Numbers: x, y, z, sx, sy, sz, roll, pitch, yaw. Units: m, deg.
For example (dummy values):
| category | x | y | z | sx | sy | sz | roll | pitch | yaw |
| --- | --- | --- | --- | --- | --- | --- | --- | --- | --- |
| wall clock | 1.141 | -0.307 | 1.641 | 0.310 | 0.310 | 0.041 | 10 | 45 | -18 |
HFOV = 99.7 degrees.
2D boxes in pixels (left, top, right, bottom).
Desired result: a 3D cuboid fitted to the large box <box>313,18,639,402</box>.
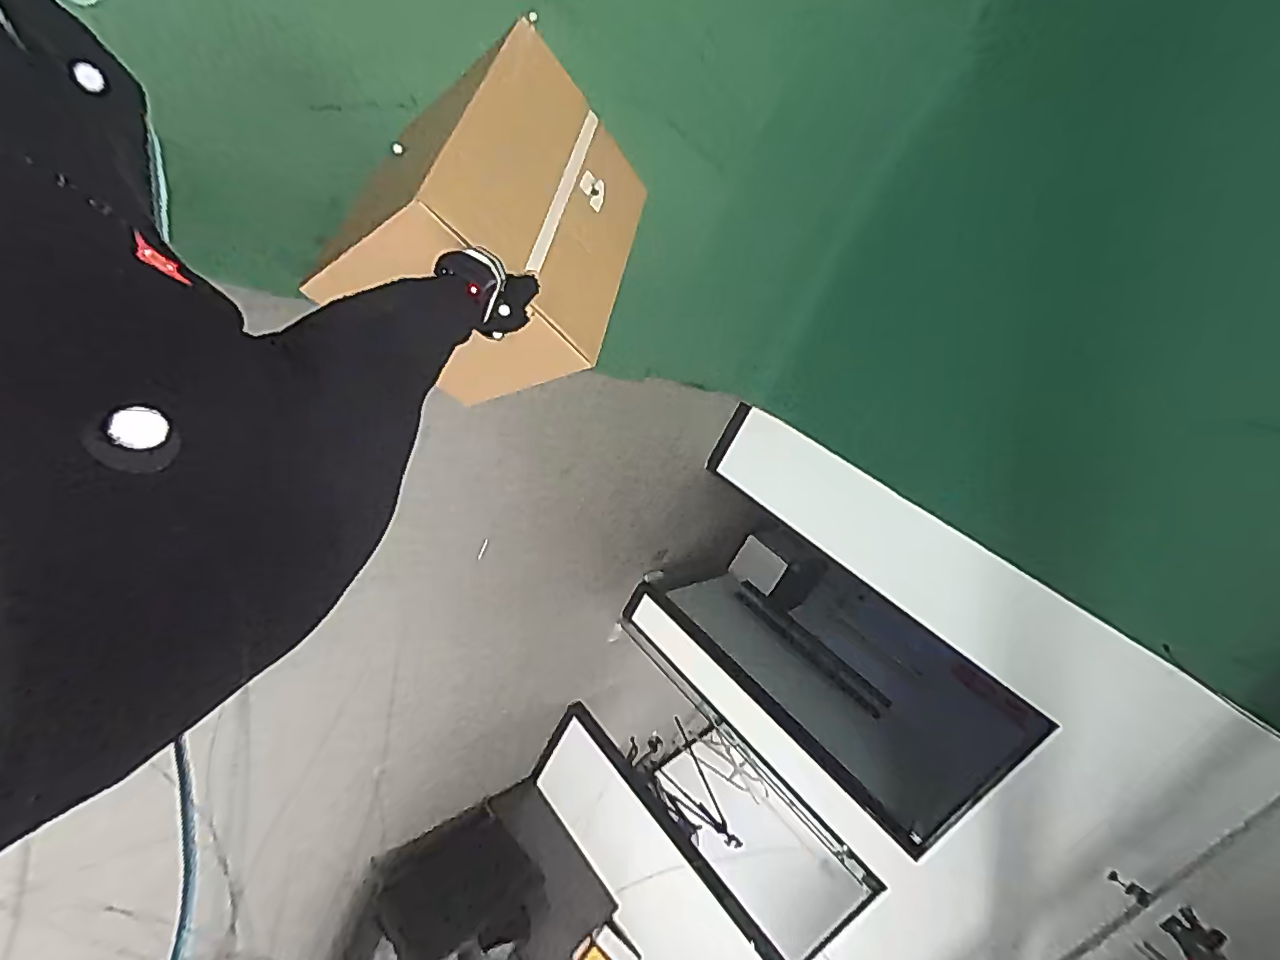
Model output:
| category | x | y | z | sx | sy | sz | roll | pitch | yaw |
| --- | --- | --- | --- | --- | --- | --- | --- | --- | --- |
| large box | -0.242 | -0.397 | 0.877 | 0.320 | 0.320 | 0.408 | 38 | 54 | -43 |
